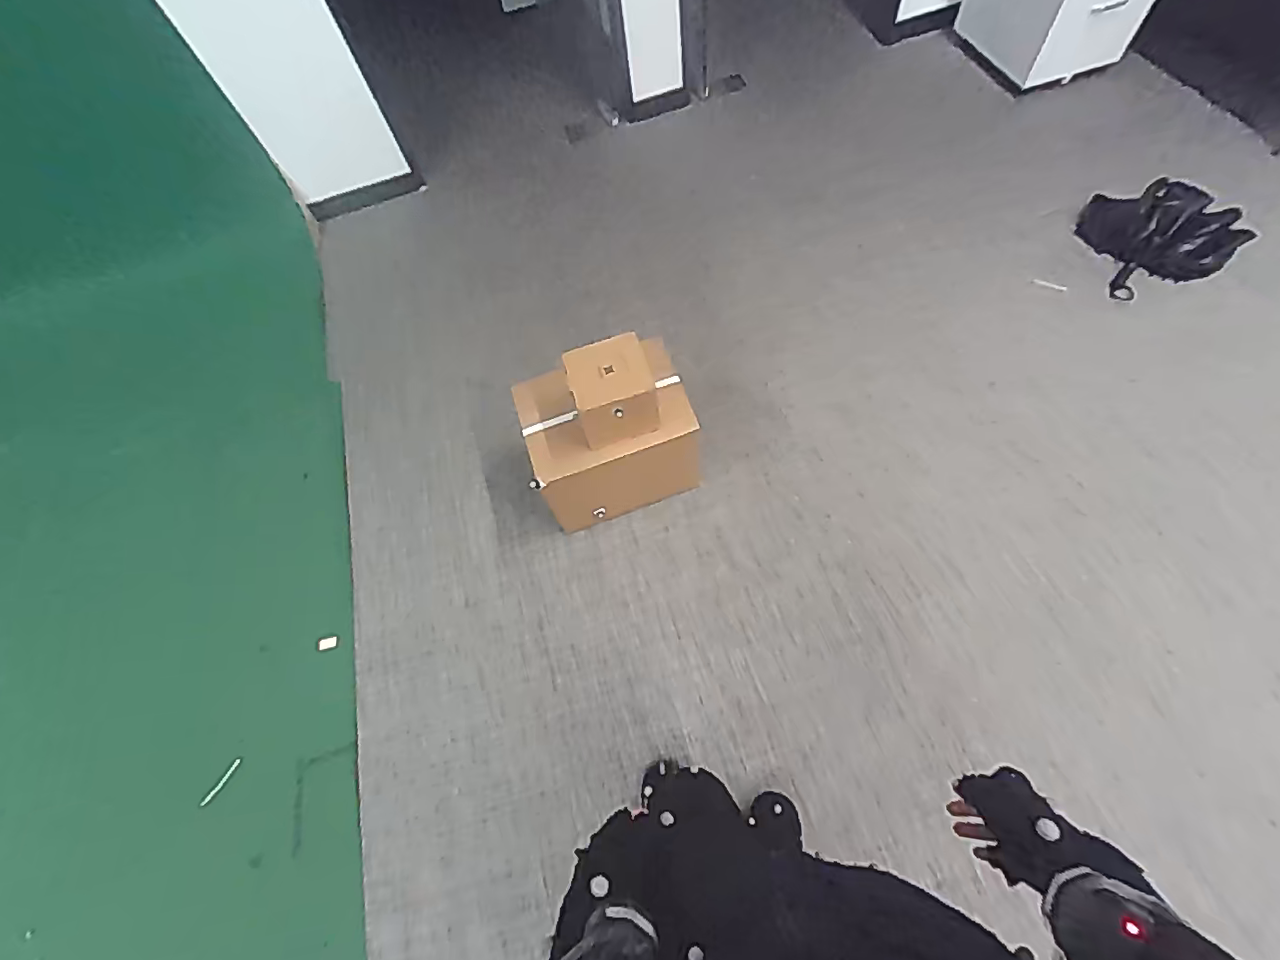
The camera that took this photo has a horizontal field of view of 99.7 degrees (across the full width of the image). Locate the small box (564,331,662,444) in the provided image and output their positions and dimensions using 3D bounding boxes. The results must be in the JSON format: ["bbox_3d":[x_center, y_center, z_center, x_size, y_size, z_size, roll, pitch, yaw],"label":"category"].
[{"bbox_3d":[-0.056,-0.203,1.235,0.179,0.176,0.168,-17,65,-3],"label":"small box"}]
